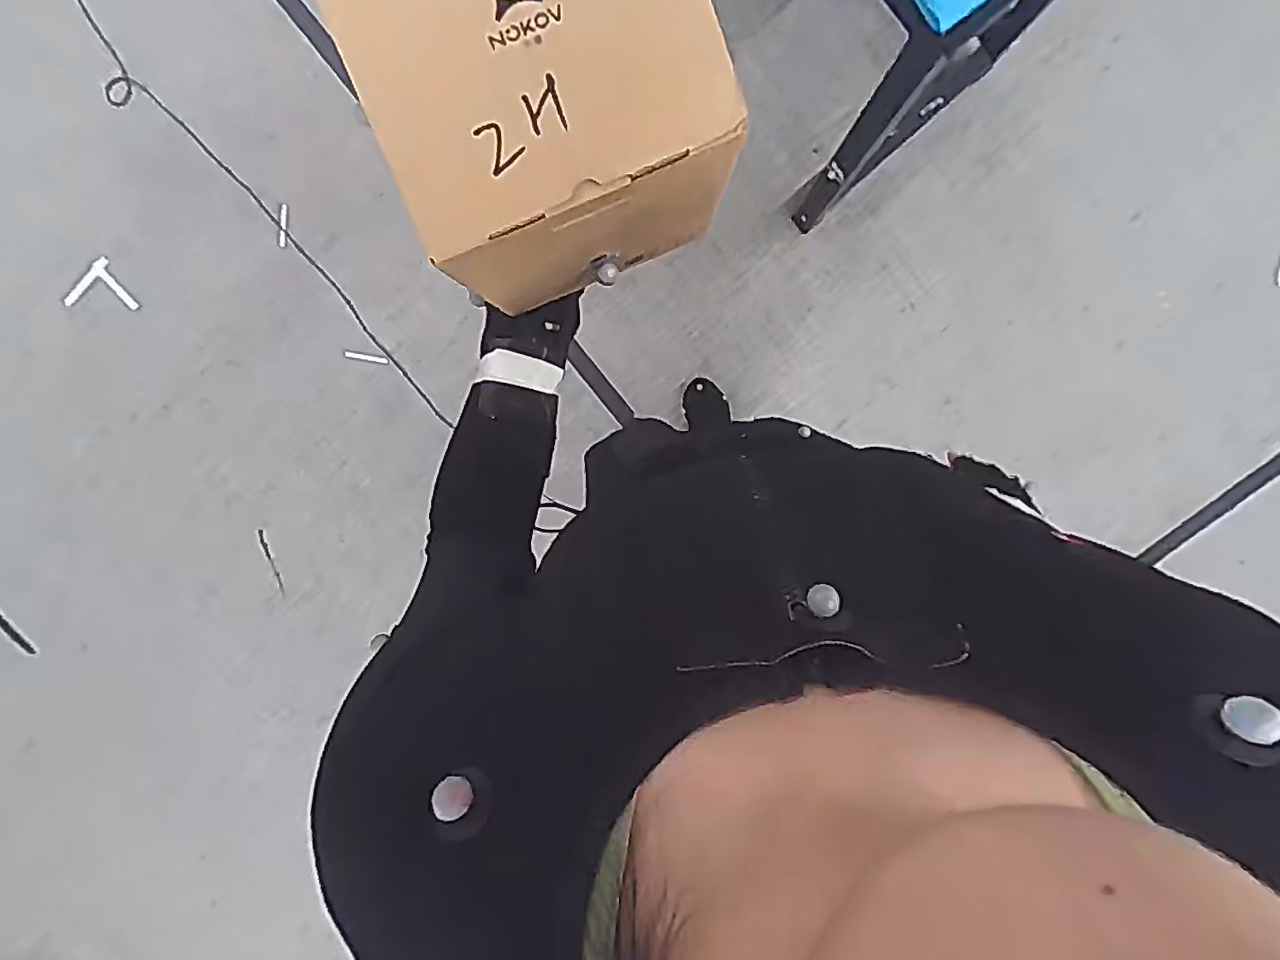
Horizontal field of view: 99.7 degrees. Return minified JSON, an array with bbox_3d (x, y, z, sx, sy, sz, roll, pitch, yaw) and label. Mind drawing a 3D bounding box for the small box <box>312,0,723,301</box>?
[{"bbox_3d":[-0.062,-0.226,0.325,0.168,0.176,0.179,-17,100,4],"label":"small box"}]
